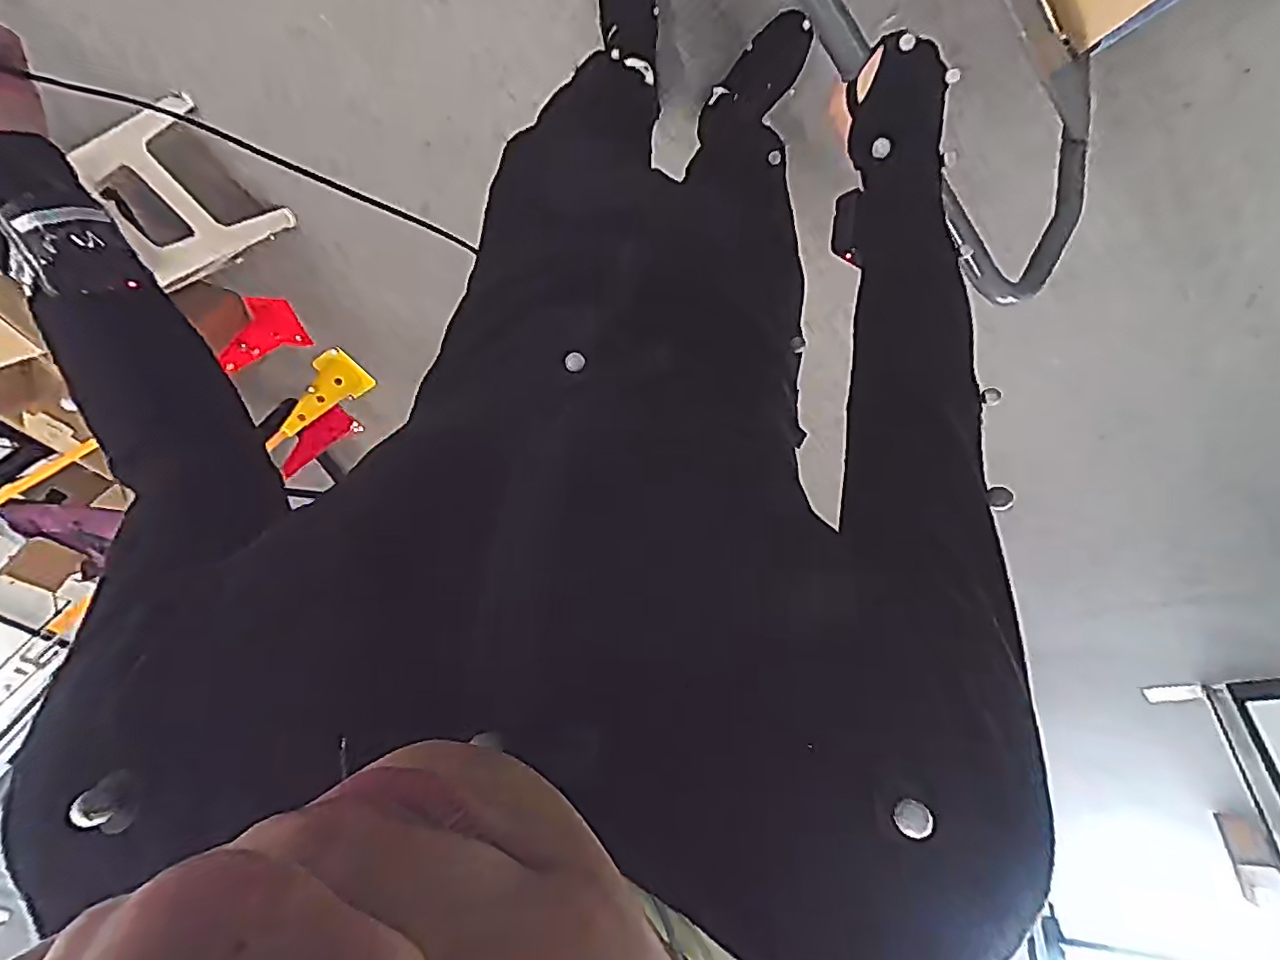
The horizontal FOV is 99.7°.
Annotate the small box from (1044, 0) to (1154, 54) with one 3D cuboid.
[{"bbox_3d":[0.647,-0.751,0.737,0.179,0.176,0.168,37,149,-22],"label":"small box"}]
